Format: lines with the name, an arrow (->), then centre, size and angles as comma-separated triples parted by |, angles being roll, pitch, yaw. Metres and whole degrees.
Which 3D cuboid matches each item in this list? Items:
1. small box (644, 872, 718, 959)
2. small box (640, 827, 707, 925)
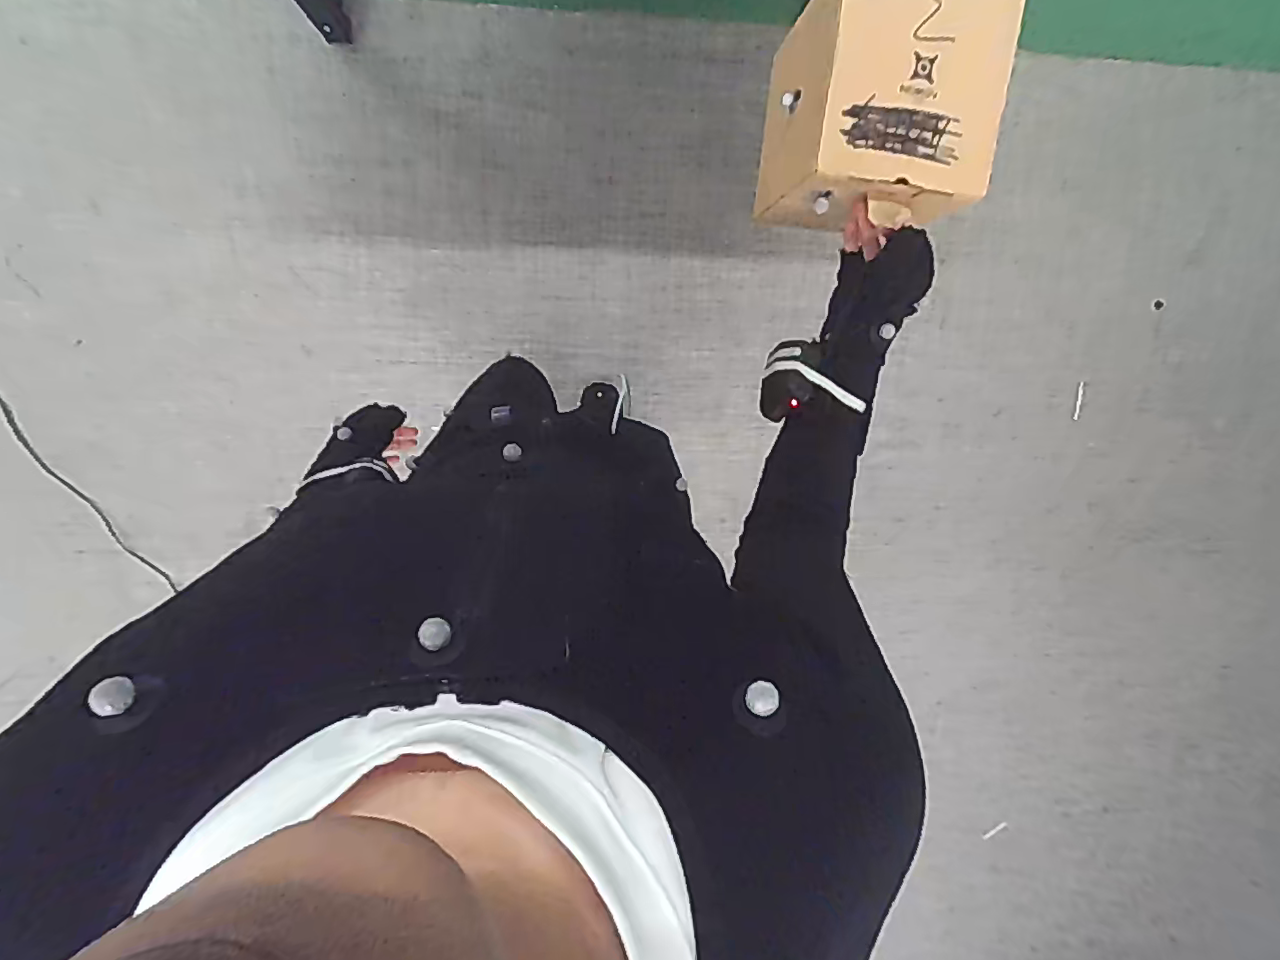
small box -> 0.105, 1.211, 1.477 | 0.168, 0.176, 0.179 | 5, 101, -6
small box -> 0.094, 1.190, 1.623 | 0.168, 0.176, 0.179 | 7, 100, -6
